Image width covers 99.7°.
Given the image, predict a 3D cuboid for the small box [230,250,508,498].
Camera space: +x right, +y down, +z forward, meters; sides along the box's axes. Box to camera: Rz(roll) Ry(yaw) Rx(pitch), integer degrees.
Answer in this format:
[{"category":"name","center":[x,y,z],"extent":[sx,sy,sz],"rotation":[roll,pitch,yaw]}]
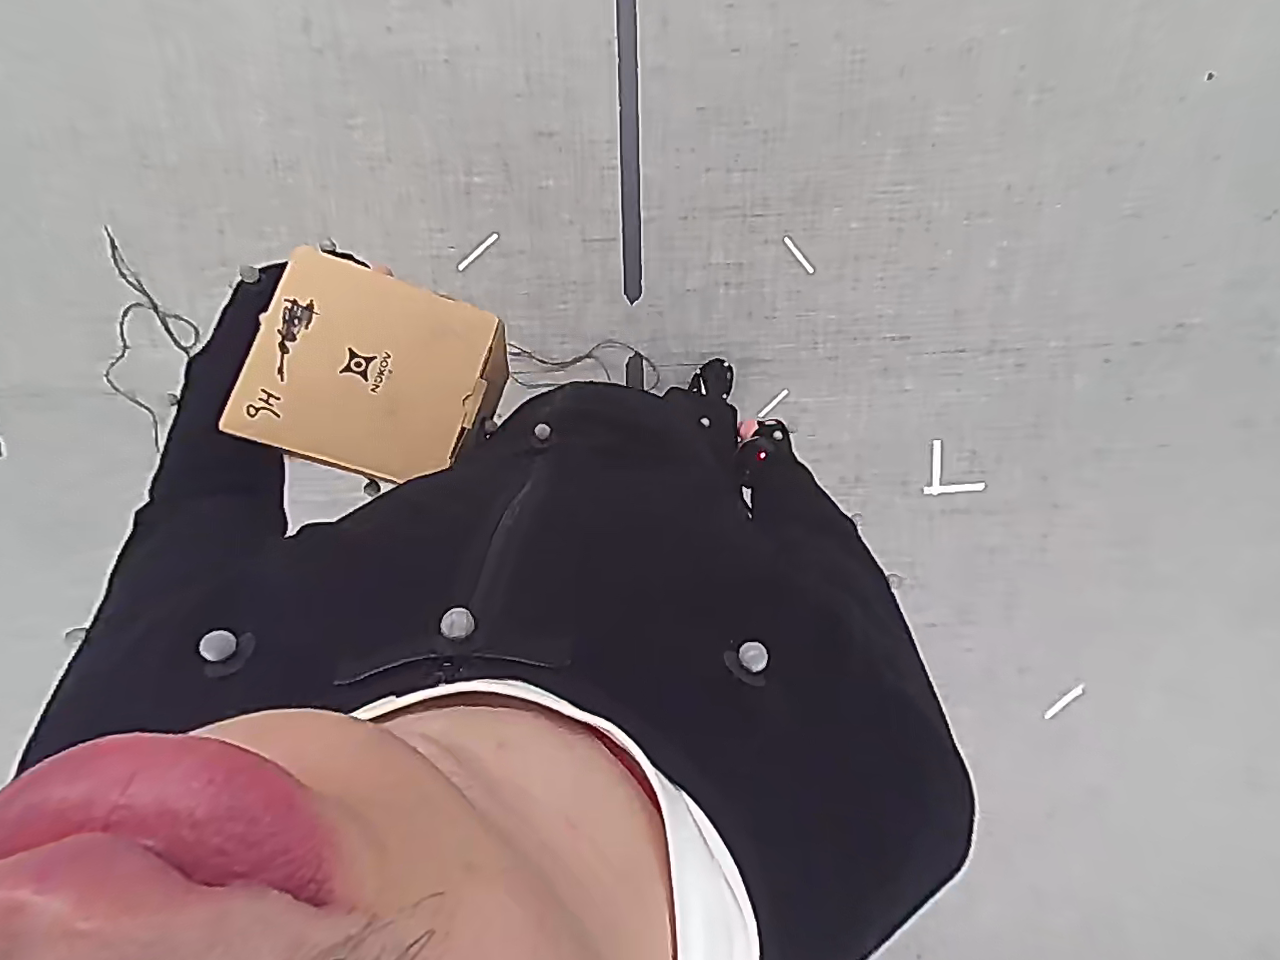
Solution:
[{"category":"small box","center":[-0.238,-0.084,0.531],"extent":[0.179,0.176,0.168],"rotation":[18,80,-10]}]
